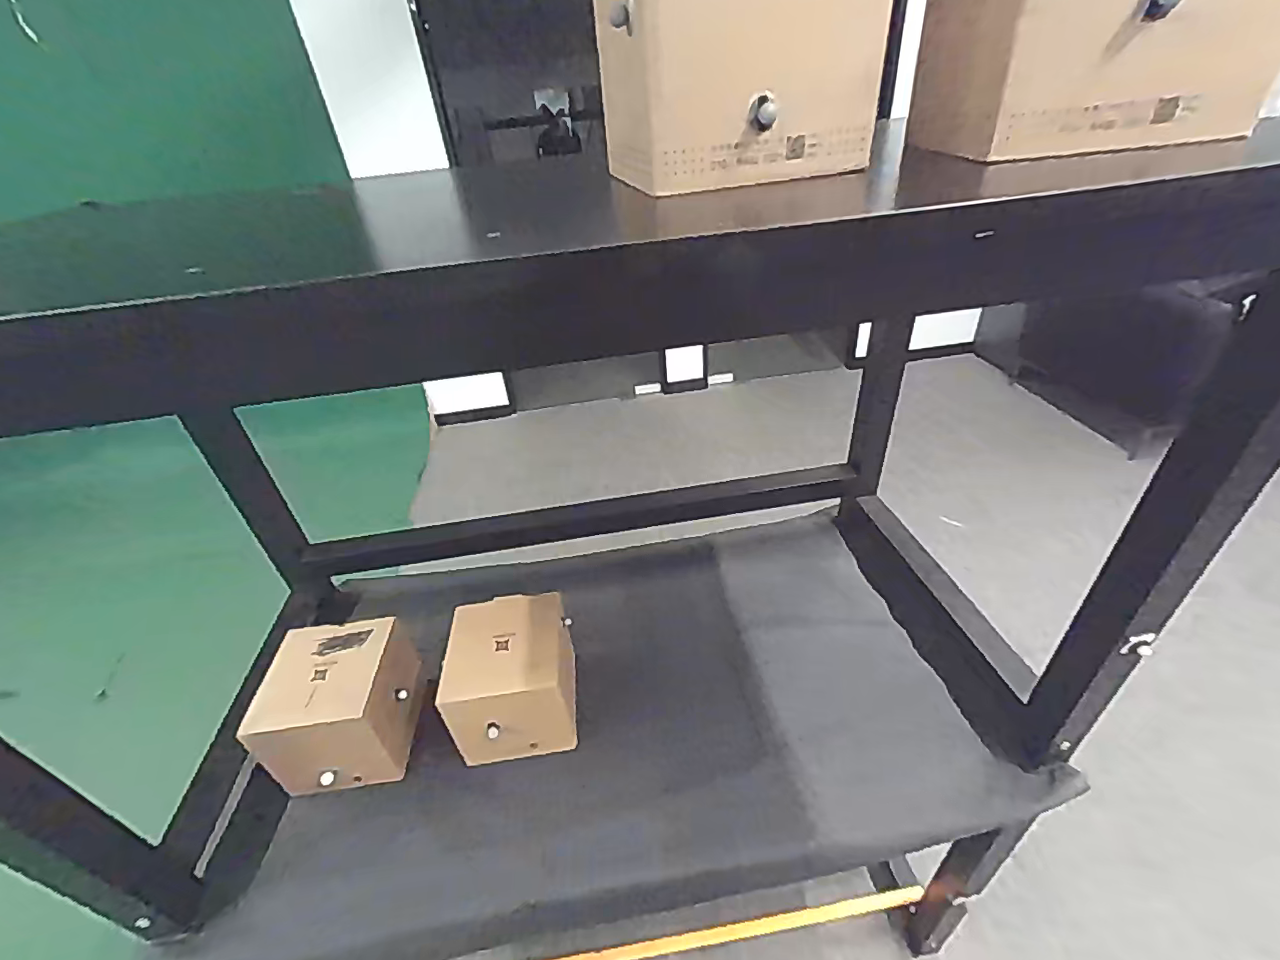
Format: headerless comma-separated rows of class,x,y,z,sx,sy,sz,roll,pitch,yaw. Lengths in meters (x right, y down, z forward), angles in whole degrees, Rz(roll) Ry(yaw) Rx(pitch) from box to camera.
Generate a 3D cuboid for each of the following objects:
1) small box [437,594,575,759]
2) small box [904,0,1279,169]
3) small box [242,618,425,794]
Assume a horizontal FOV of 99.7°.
small box,-0.194,0.307,0.838,0.168,0.176,0.179,-8,35,-3
small box,0.315,-0.330,0.391,0.168,0.176,0.179,-2,35,6
small box,-0.444,0.340,0.821,0.168,0.176,0.179,-7,35,-3
